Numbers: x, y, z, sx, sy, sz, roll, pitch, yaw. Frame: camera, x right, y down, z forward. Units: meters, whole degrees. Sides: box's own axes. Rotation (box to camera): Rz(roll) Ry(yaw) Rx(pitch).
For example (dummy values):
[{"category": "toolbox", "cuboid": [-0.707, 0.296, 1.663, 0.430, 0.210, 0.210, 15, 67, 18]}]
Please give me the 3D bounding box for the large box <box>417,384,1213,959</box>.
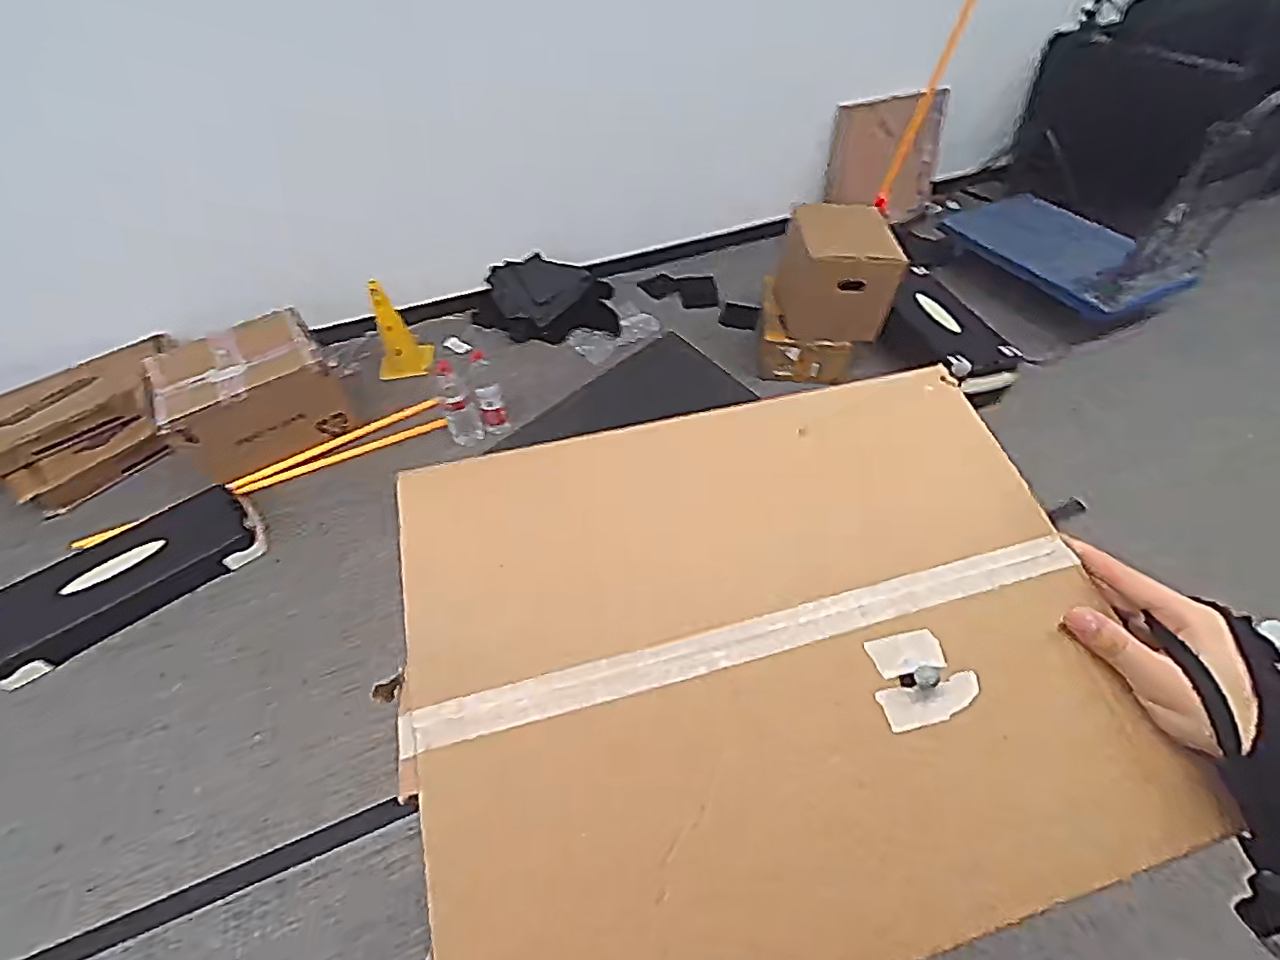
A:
[{"category": "large box", "cuboid": [0.073, 0.166, 0.453, 0.408, 0.320, 0.320, -12, 64, -10]}]
